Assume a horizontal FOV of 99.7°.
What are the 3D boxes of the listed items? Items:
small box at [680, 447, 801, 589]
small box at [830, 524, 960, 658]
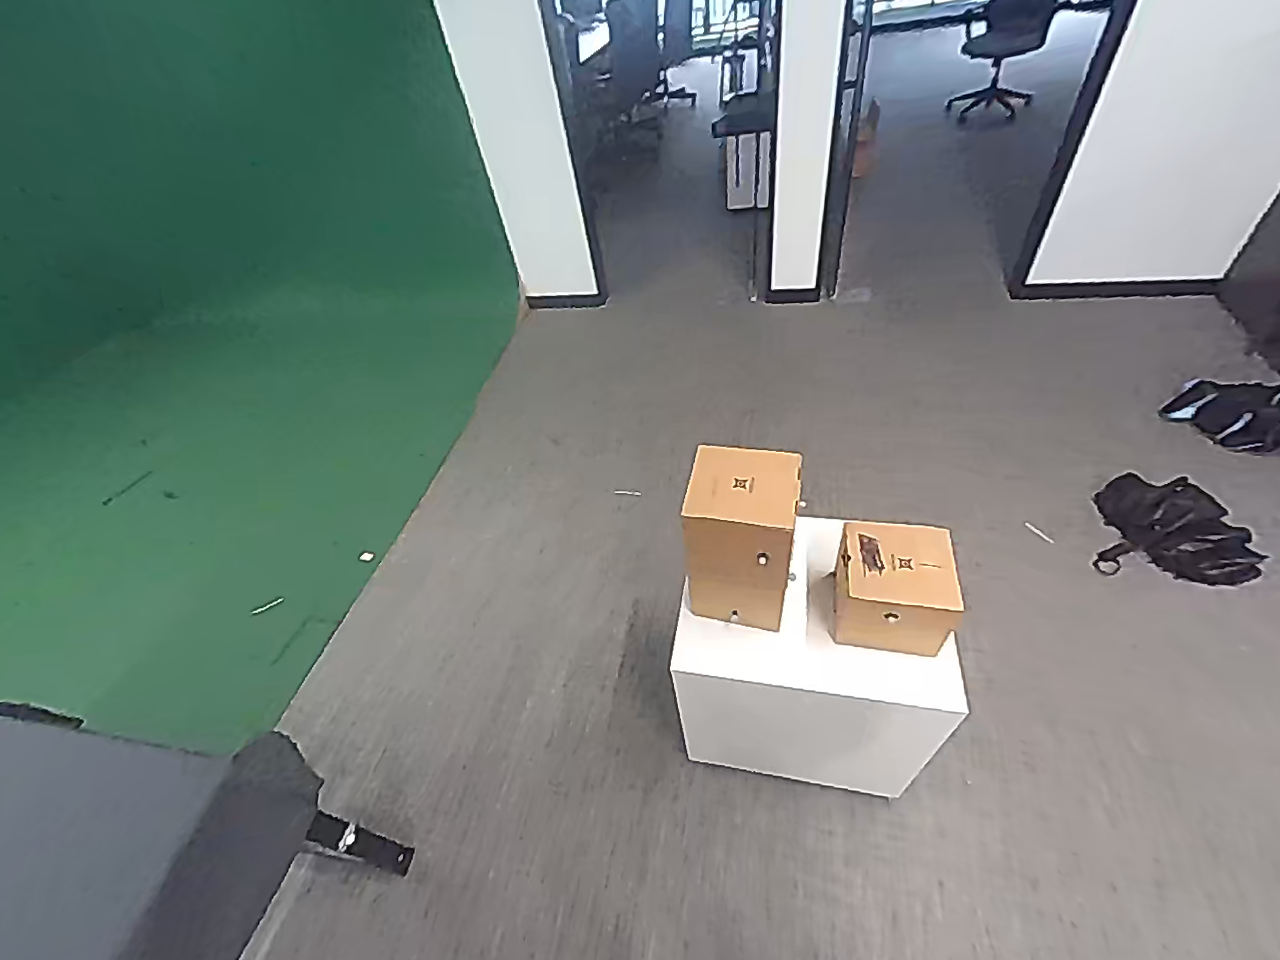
[{"bbox_3d":[0.171,0.066,0.915,0.179,0.176,0.168,5,45,13],"label":"small box"},{"bbox_3d":[0.443,0.202,0.976,0.179,0.176,0.168,5,47,11],"label":"small box"}]
